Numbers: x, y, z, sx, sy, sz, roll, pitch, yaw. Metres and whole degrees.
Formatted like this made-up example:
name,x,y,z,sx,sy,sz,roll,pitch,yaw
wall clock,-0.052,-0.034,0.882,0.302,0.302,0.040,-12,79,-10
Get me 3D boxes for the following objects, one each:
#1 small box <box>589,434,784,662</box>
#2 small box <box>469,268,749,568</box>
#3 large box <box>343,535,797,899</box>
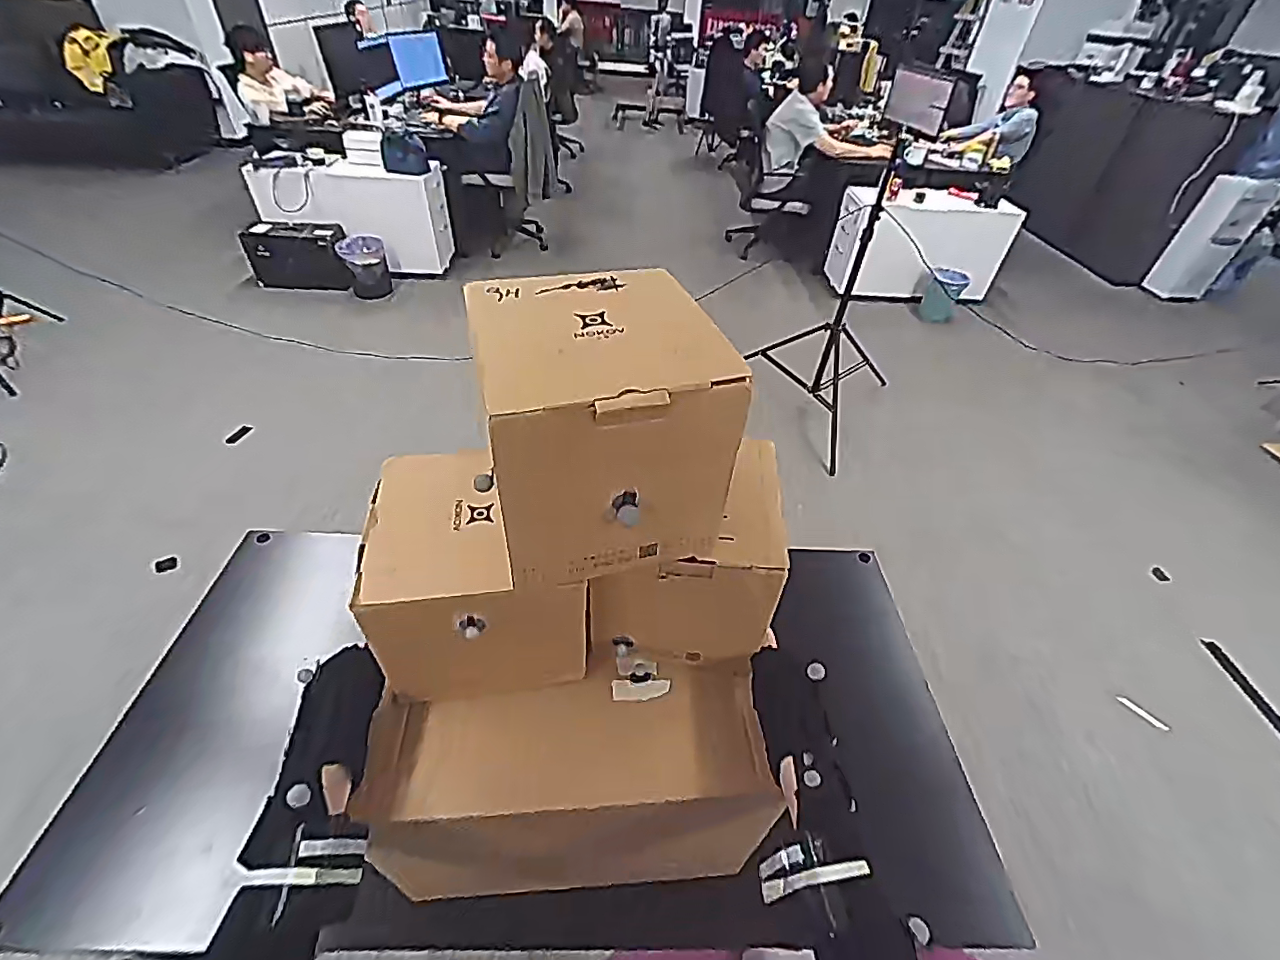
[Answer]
name,x,y,z,sx,sy,sz,roll,pitch,yaw
small box,0.045,0.065,0.559,0.168,0.176,0.179,6,41,3
small box,-0.034,-0.048,0.433,0.168,0.176,0.179,-10,45,-15
large box,-0.078,0.280,0.674,0.408,0.320,0.320,-1,43,-7
